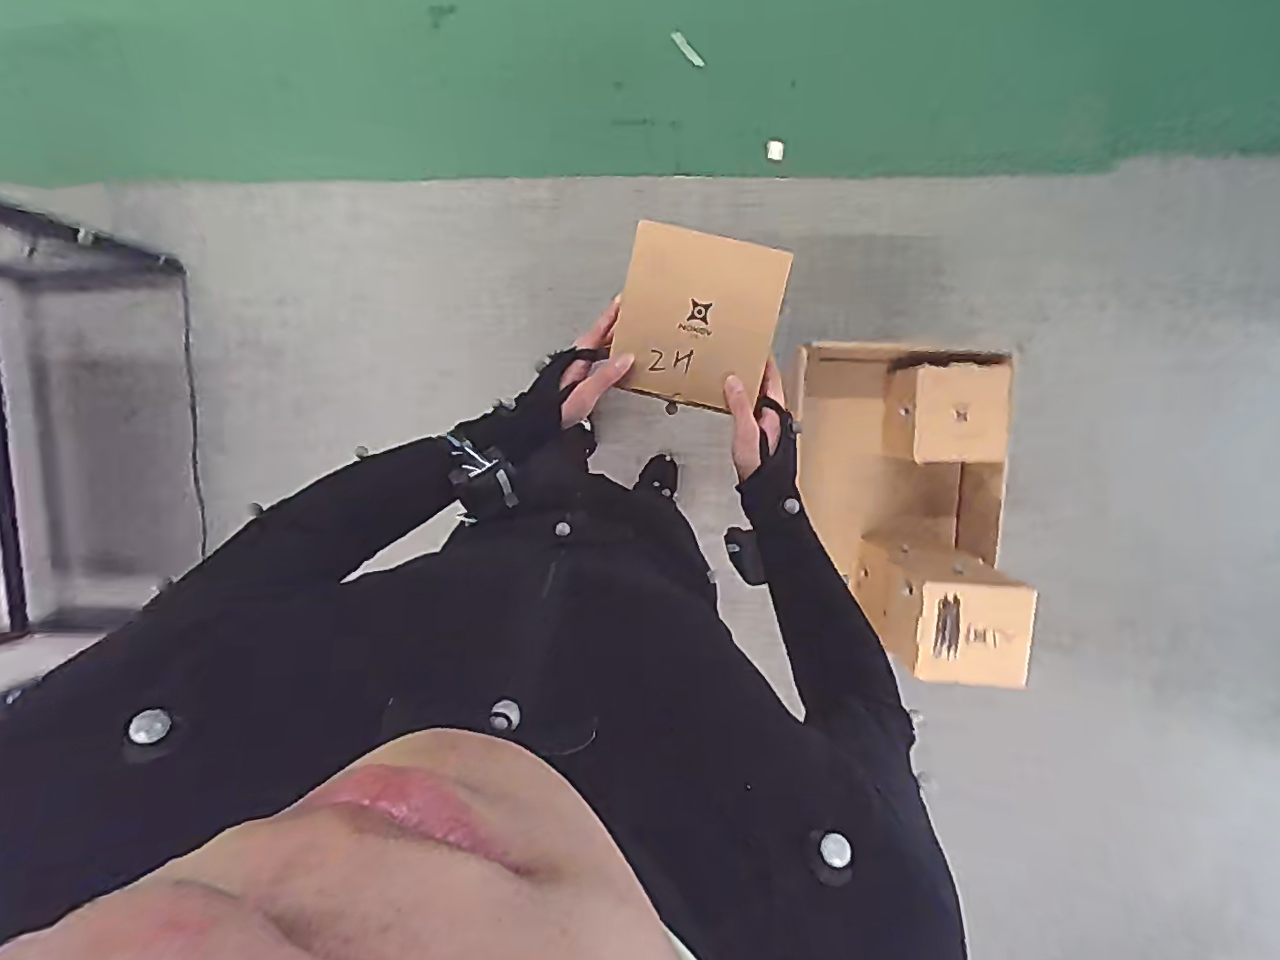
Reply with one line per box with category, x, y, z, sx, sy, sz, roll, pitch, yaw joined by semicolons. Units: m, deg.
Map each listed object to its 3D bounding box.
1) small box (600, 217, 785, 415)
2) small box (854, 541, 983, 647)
small box;0.055;-0.180;0.644;0.168;0.176;0.179;12;98;0
small box;0.560;0.224;1.107;0.179;0.176;0.168;4;96;5
